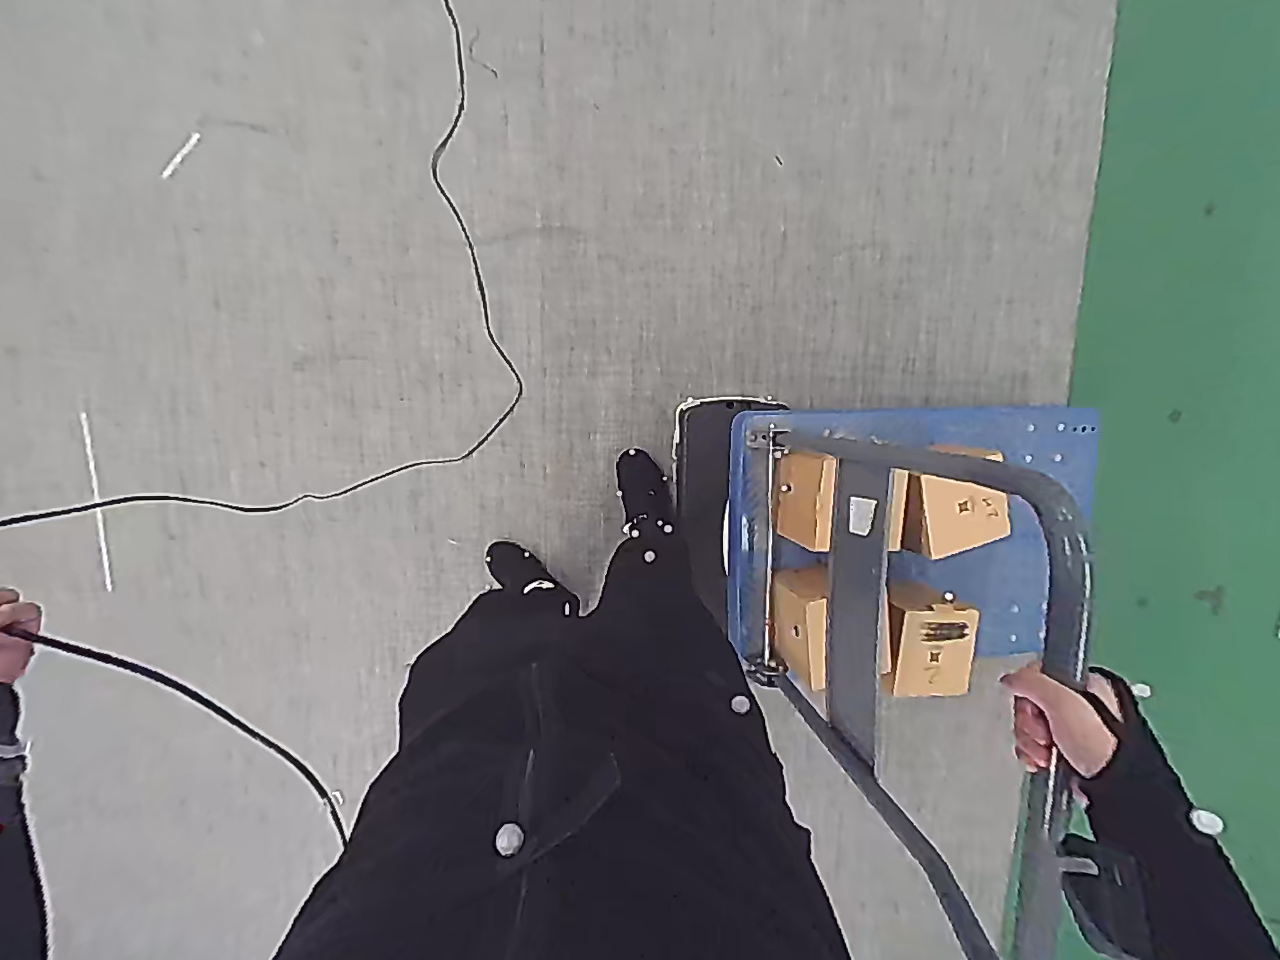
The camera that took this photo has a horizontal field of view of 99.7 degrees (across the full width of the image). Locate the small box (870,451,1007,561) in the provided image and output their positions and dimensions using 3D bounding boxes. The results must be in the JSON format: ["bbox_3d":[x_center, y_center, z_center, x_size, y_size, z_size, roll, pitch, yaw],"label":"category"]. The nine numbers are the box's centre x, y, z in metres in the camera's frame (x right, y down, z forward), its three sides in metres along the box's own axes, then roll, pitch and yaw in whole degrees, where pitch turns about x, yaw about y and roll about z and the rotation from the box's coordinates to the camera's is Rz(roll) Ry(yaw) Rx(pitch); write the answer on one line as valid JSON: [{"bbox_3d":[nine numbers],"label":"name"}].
[{"bbox_3d":[0.579,0.044,1.073,0.179,0.176,0.168,-14,101,-9],"label":"small box"}]
